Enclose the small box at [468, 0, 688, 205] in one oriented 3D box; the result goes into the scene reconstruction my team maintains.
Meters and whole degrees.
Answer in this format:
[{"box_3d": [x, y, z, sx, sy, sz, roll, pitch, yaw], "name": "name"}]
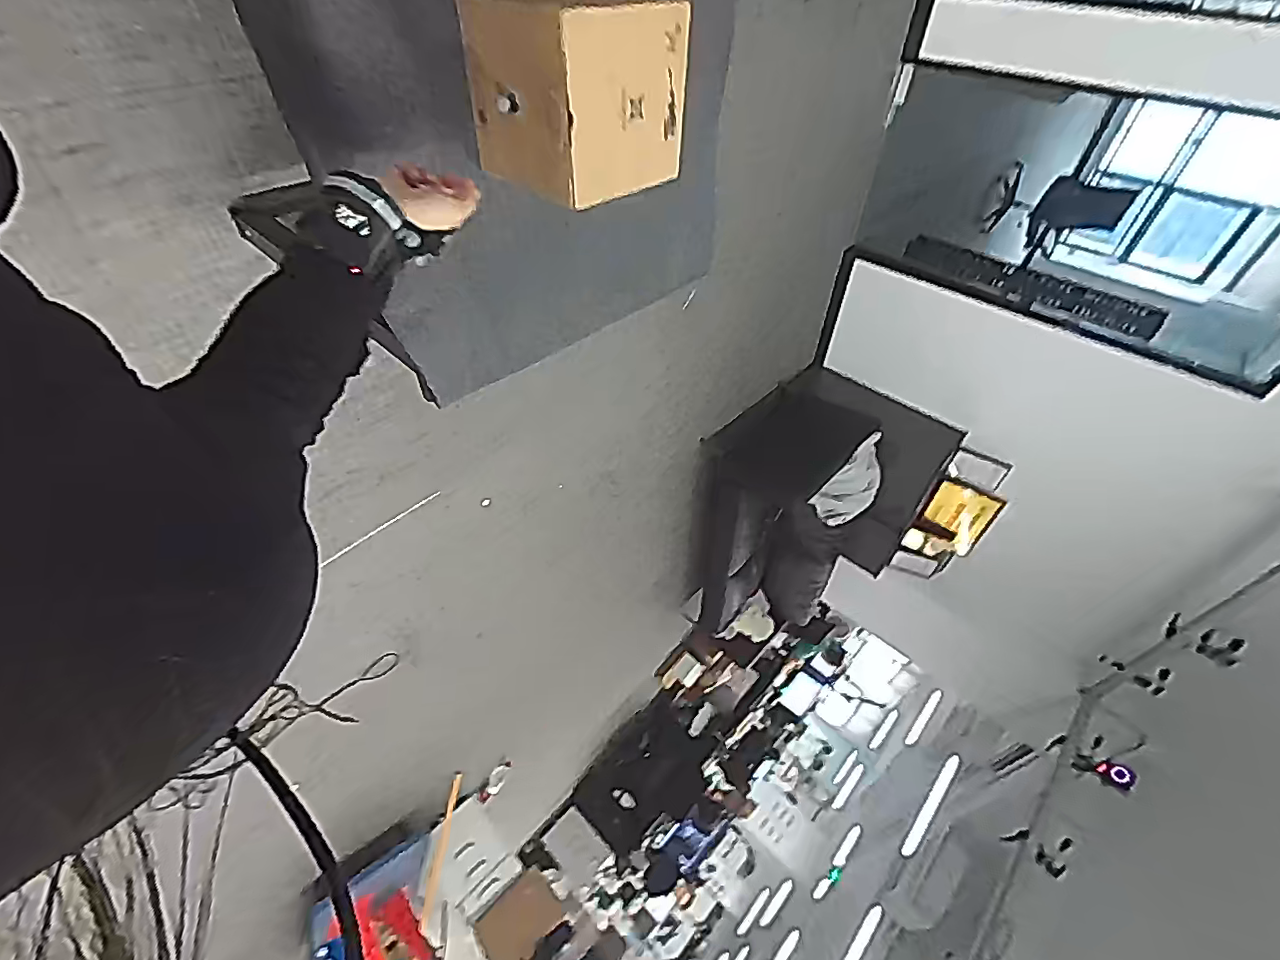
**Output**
[{"box_3d": [-0.071, -0.430, 0.602, 0.179, 0.176, 0.168, -35, 146, -32], "name": "small box"}]
